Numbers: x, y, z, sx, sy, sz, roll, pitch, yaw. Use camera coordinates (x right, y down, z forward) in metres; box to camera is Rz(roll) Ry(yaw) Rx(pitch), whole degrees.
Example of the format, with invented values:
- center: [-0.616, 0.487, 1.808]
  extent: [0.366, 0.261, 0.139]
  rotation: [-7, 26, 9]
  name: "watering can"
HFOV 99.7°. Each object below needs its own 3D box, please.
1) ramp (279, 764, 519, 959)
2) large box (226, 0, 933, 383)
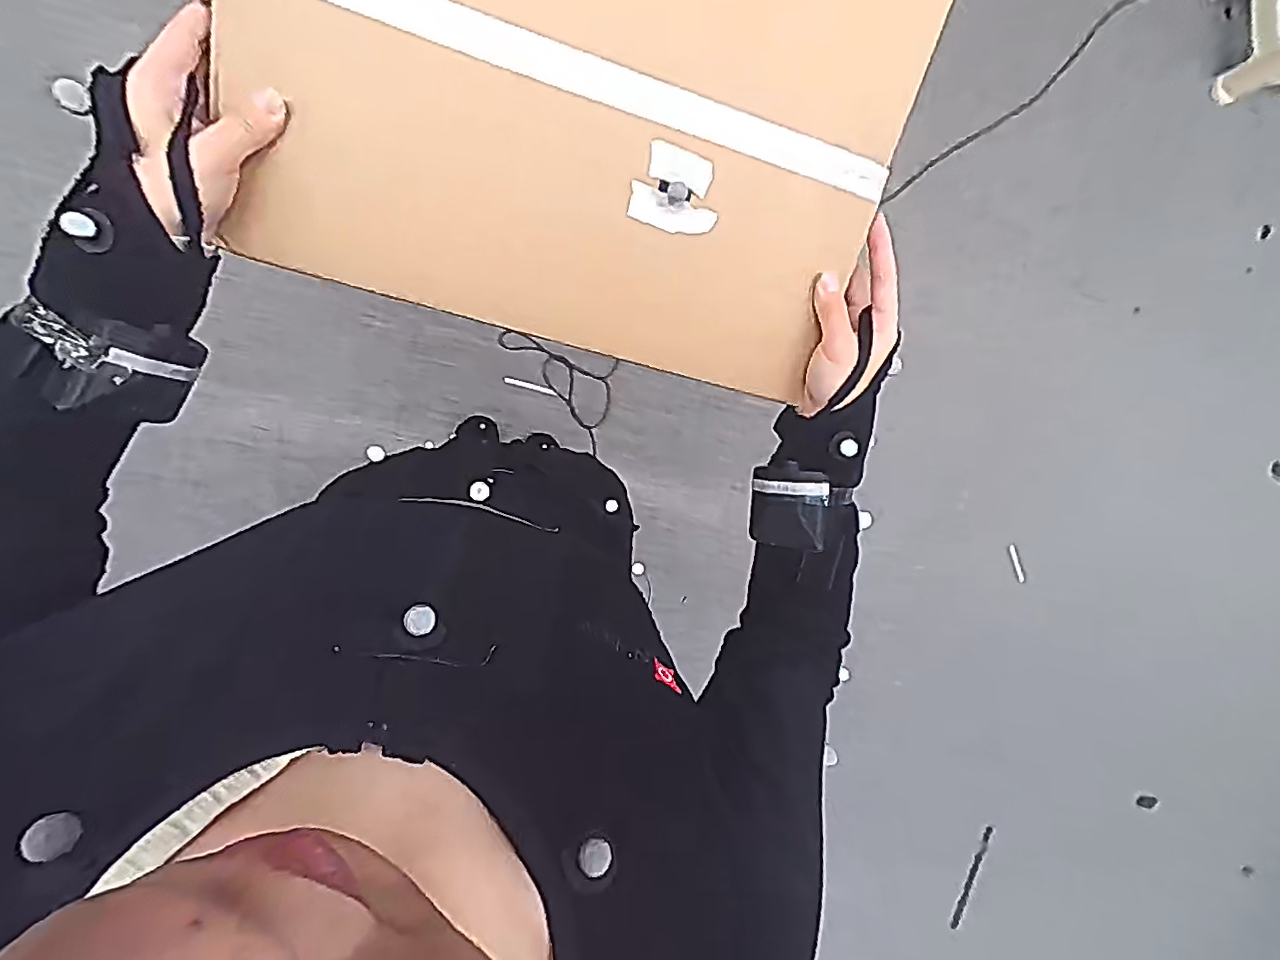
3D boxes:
- center: [-0.659, 1.252, 1.376]
  extent: [0.509, 0.206, 0.991]
  rotation: [12, 95, -12]
  name: "ramp"
- center: [-0.051, -0.302, 0.469]
  extent: [0.408, 0.320, 0.320]
  rotation: [12, 109, -13]
  name: "large box"
